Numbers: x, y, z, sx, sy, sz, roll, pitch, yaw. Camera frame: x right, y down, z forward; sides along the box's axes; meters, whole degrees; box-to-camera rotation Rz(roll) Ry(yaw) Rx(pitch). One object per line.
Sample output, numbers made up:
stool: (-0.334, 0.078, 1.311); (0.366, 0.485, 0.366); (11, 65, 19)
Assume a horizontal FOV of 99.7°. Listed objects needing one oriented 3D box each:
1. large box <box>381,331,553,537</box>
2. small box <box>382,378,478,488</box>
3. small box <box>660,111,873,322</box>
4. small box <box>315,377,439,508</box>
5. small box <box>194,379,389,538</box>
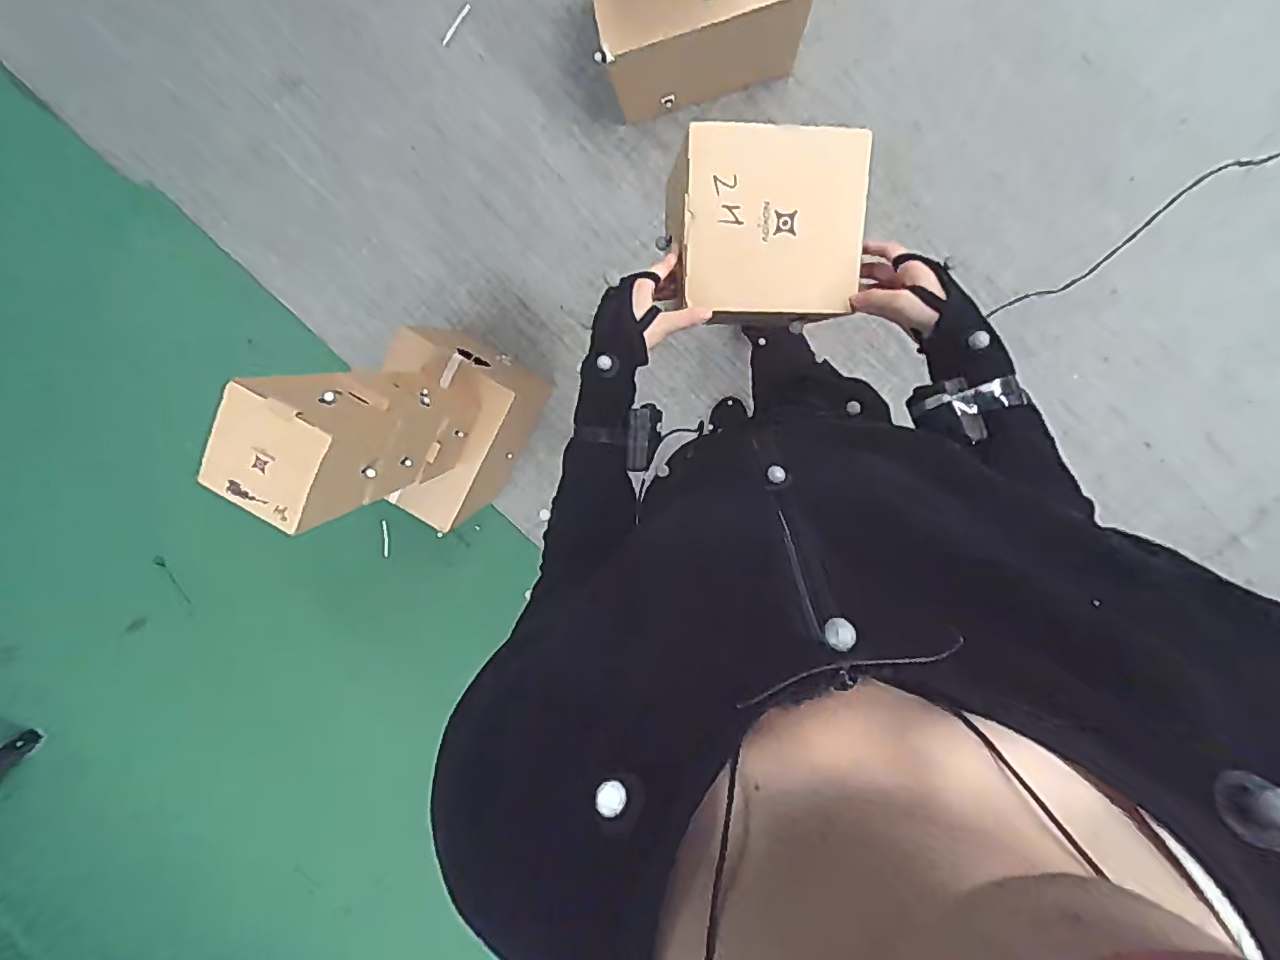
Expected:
large box: (-0.478, -0.135, 1.409); (0.320, 0.320, 0.408); (31, 106, 2)
small box: (-0.480, -0.110, 1.162); (0.179, 0.176, 0.168); (31, 104, 0)
small box: (0.120, -0.264, 0.580); (0.179, 0.176, 0.168); (0, 101, -4)
small box: (-0.502, -0.080, 1.003); (0.168, 0.176, 0.179); (30, 105, 0)
small box: (-0.528, -0.044, 0.844); (0.168, 0.176, 0.179); (31, 103, 0)
